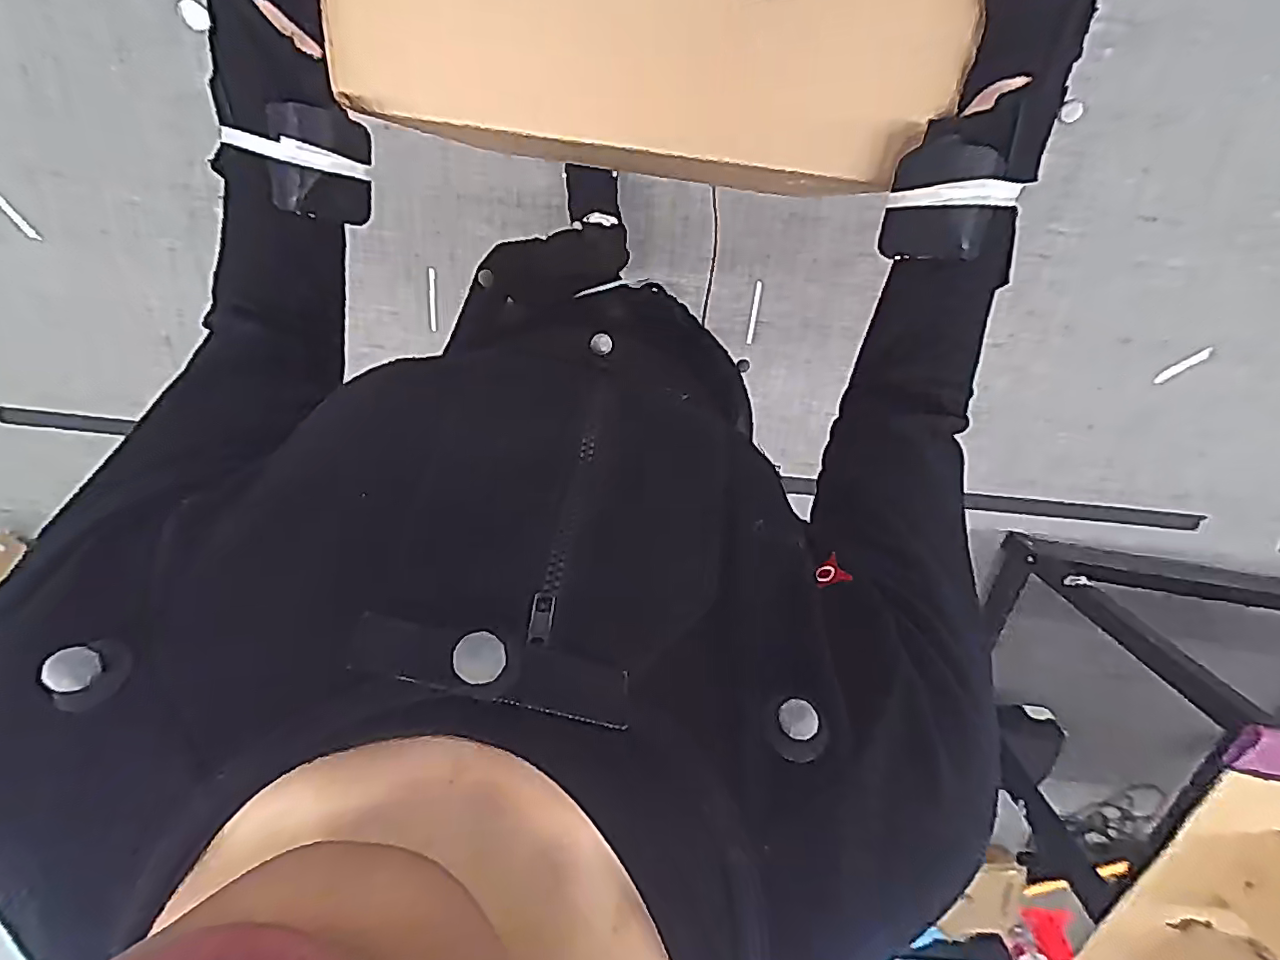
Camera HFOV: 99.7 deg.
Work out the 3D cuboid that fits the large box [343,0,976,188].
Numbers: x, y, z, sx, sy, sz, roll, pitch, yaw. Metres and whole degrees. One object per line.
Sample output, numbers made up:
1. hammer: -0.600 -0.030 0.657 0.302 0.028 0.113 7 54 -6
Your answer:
1. large box: 0.020 -0.435 0.437 0.408 0.320 0.320 6 118 -3
